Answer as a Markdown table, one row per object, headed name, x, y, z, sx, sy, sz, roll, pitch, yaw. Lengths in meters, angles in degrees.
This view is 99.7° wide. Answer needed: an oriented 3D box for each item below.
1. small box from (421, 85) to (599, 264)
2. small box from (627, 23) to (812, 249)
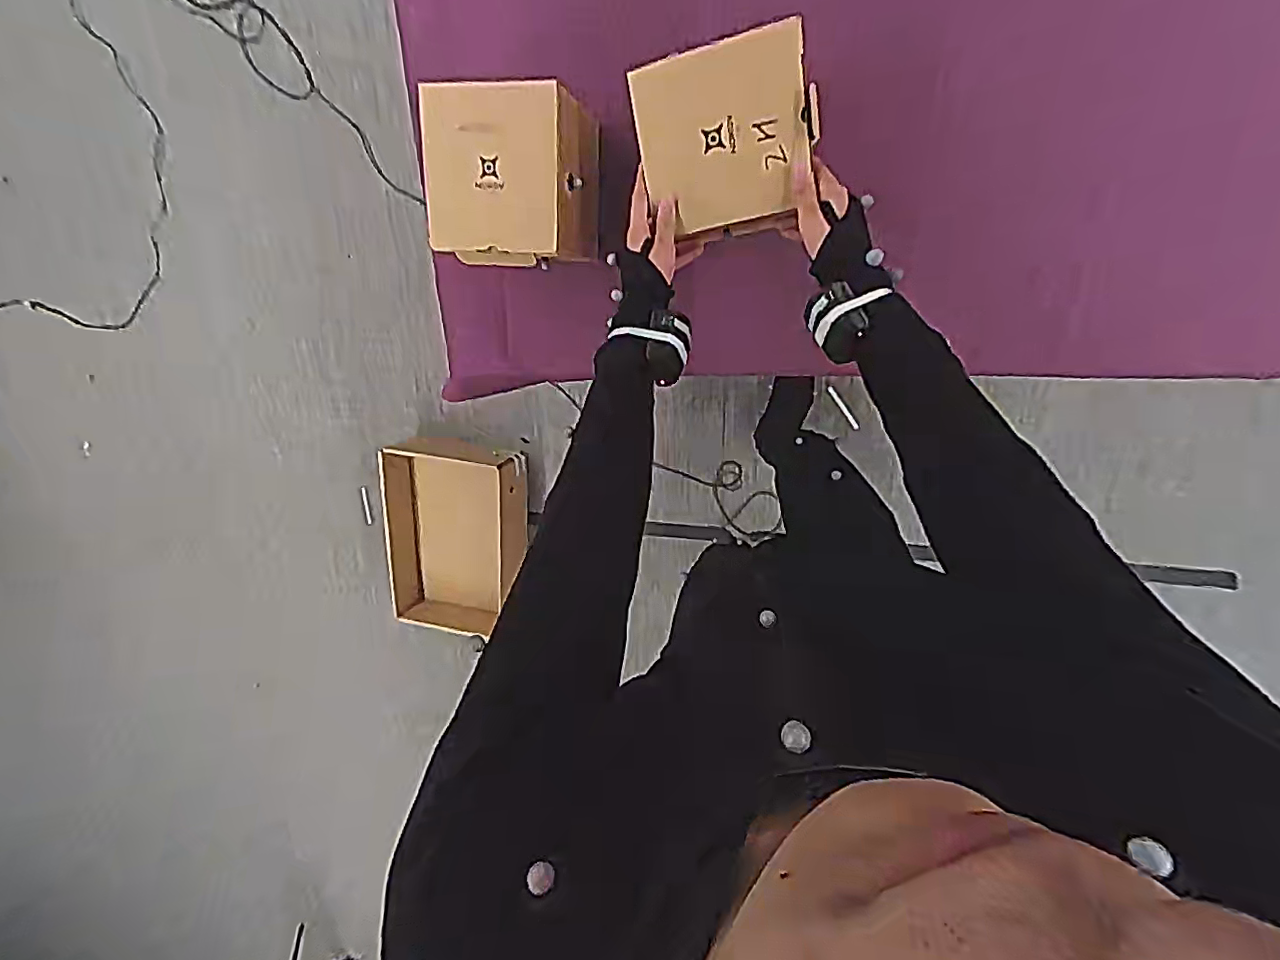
| name | x | y | z | sx | sy | sz | roll | pitch | yaw |
| --- | --- | --- | --- | --- | --- | --- | --- | --- | --- |
| small box | -0.154 | -0.375 | 0.692 | 0.168 | 0.176 | 0.179 | 7 | 110 | 10 |
| small box | 0.100 | -0.376 | 0.631 | 0.179 | 0.176 | 0.168 | -6 | 108 | 15 |
